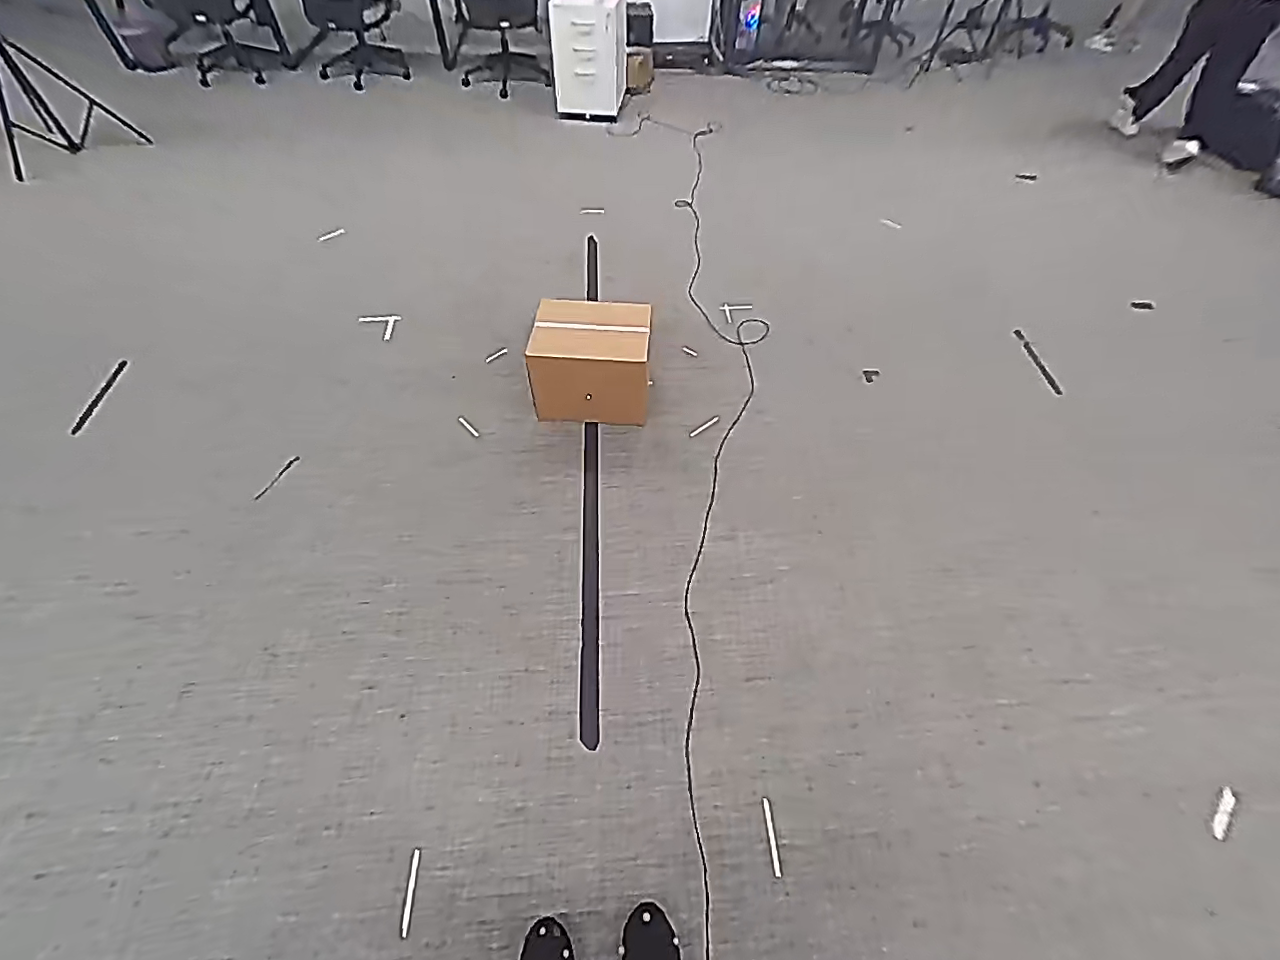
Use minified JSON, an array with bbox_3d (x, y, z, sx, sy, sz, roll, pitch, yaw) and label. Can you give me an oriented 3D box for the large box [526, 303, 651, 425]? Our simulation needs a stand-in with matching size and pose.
[{"bbox_3d":[-0.173,-0.418,1.969,0.408,0.320,0.320,4,54,1],"label":"large box"}]
